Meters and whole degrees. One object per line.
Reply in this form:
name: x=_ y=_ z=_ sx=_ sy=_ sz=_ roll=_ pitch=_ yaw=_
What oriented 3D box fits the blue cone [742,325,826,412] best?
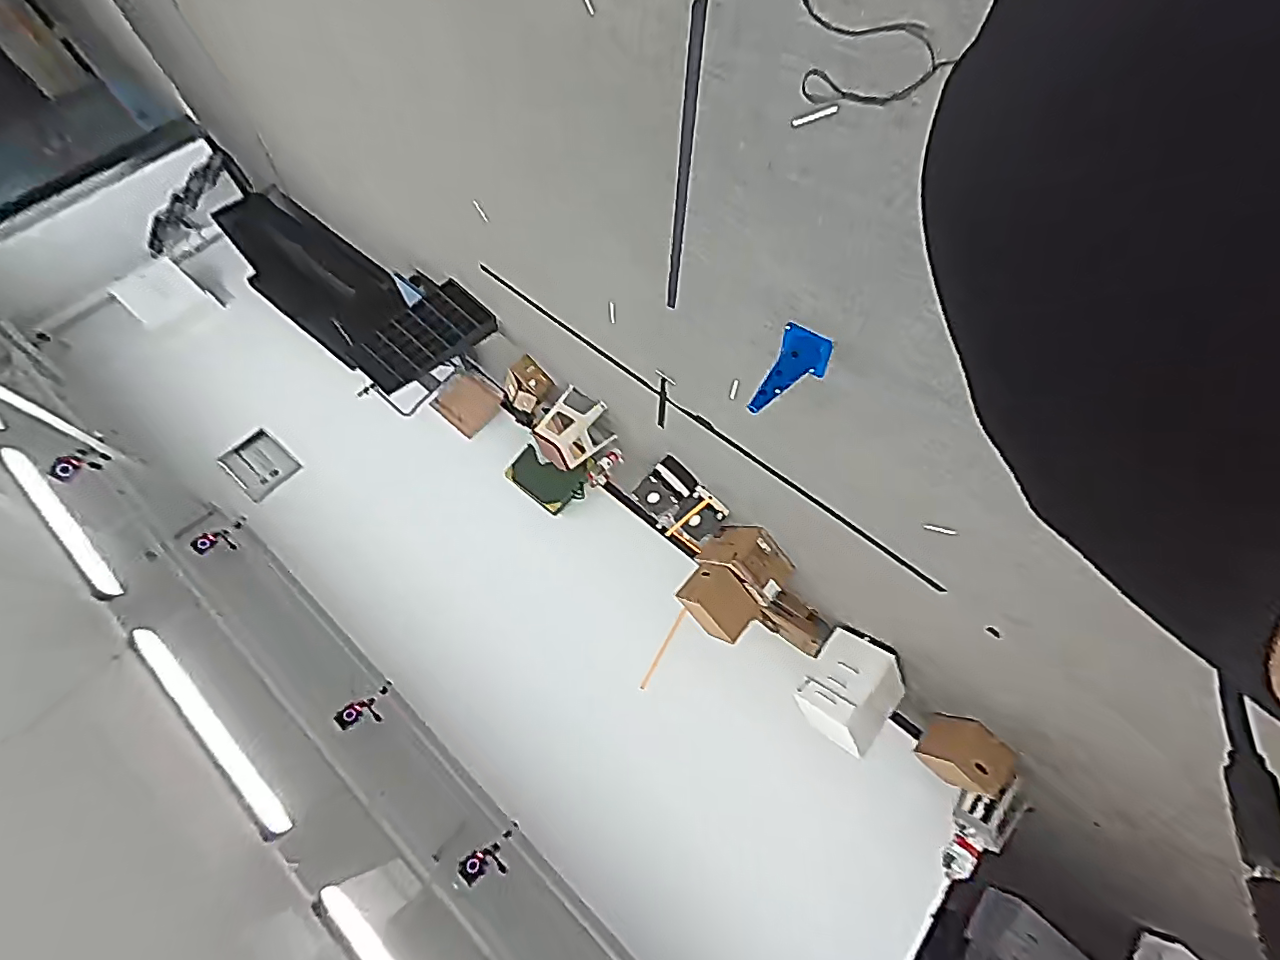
blue cone: x=0.518 y=-0.385 z=2.034 sx=0.192 sy=0.380 sz=0.193 roll=37 pitch=160 yaw=21
